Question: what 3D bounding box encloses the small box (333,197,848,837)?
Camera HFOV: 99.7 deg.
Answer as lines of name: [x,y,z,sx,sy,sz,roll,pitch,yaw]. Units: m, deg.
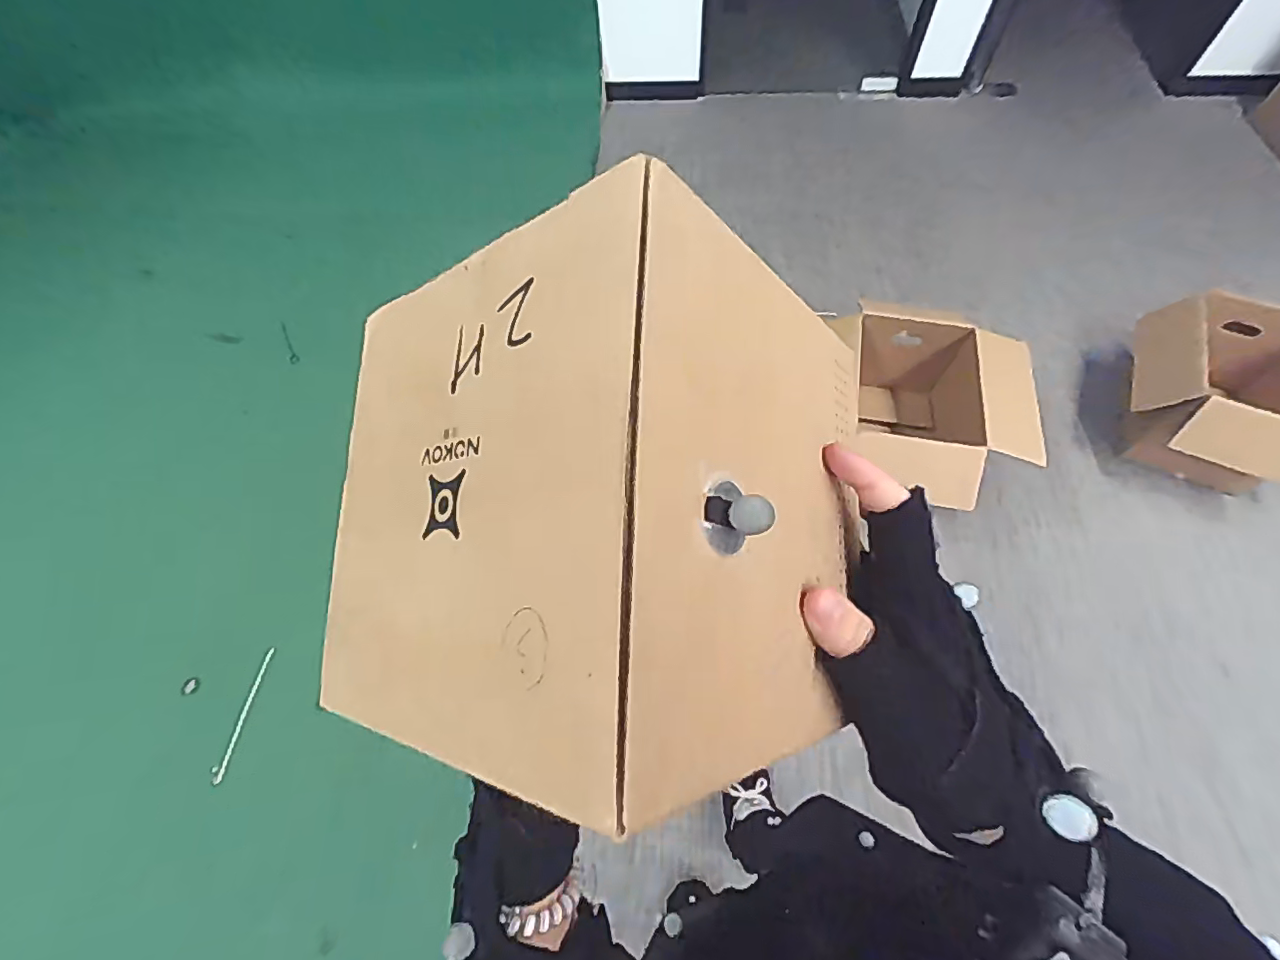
small box: [-0.013,0.020,0.253,0.168,0.176,0.179,-7,76,40]
